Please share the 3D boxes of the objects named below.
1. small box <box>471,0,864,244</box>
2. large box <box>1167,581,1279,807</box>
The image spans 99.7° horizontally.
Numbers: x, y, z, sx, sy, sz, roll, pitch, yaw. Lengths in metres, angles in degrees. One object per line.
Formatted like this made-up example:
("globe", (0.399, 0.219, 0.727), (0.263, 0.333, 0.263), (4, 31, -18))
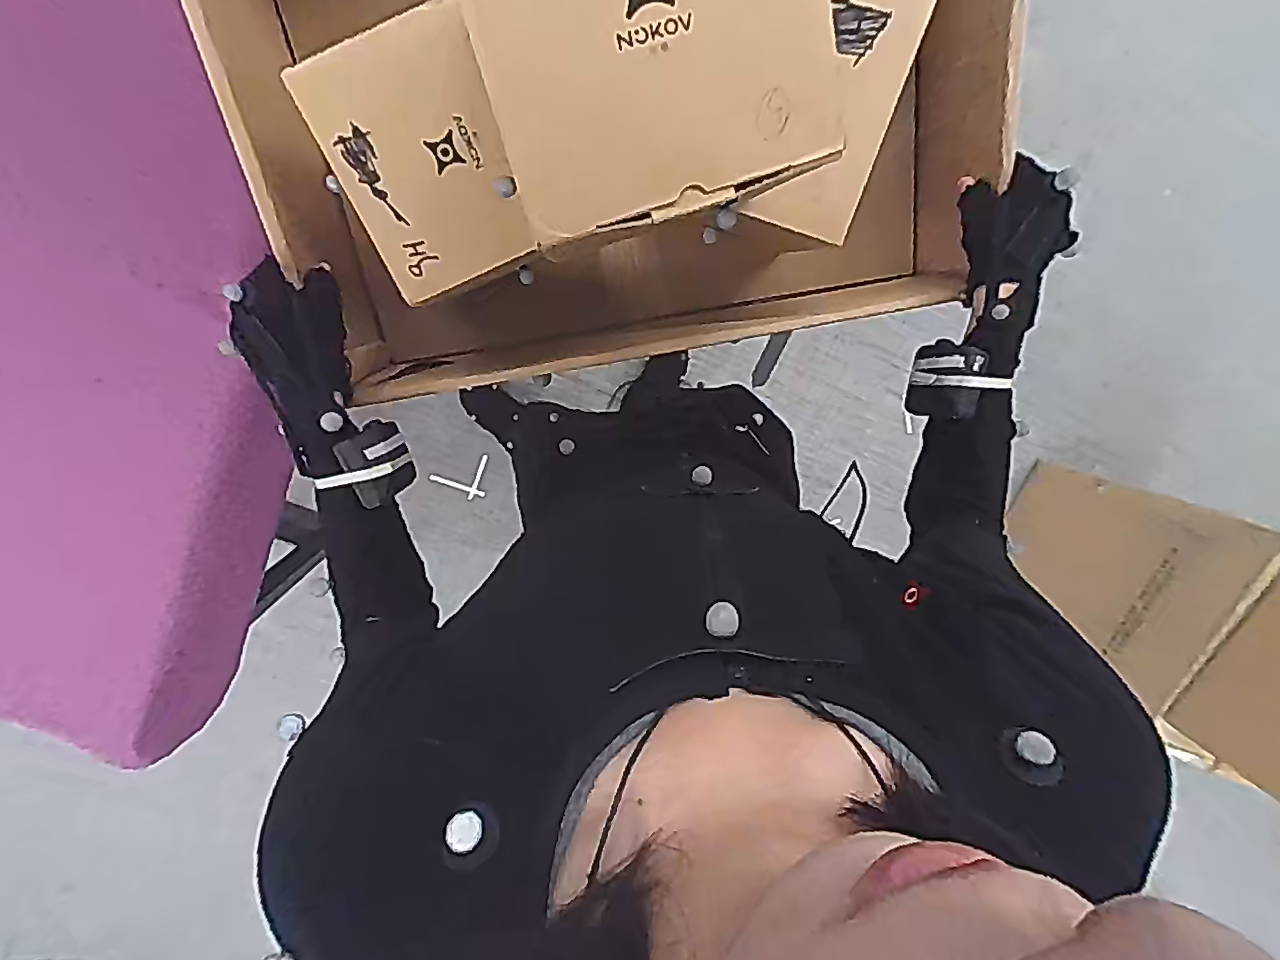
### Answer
("small box", (0.001, -0.245, 0.307), (0.168, 0.176, 0.179), (-17, 110, -1))
("large box", (1.320, 0.431, 0.970), (0.320, 0.320, 0.408), (23, 104, -10))
